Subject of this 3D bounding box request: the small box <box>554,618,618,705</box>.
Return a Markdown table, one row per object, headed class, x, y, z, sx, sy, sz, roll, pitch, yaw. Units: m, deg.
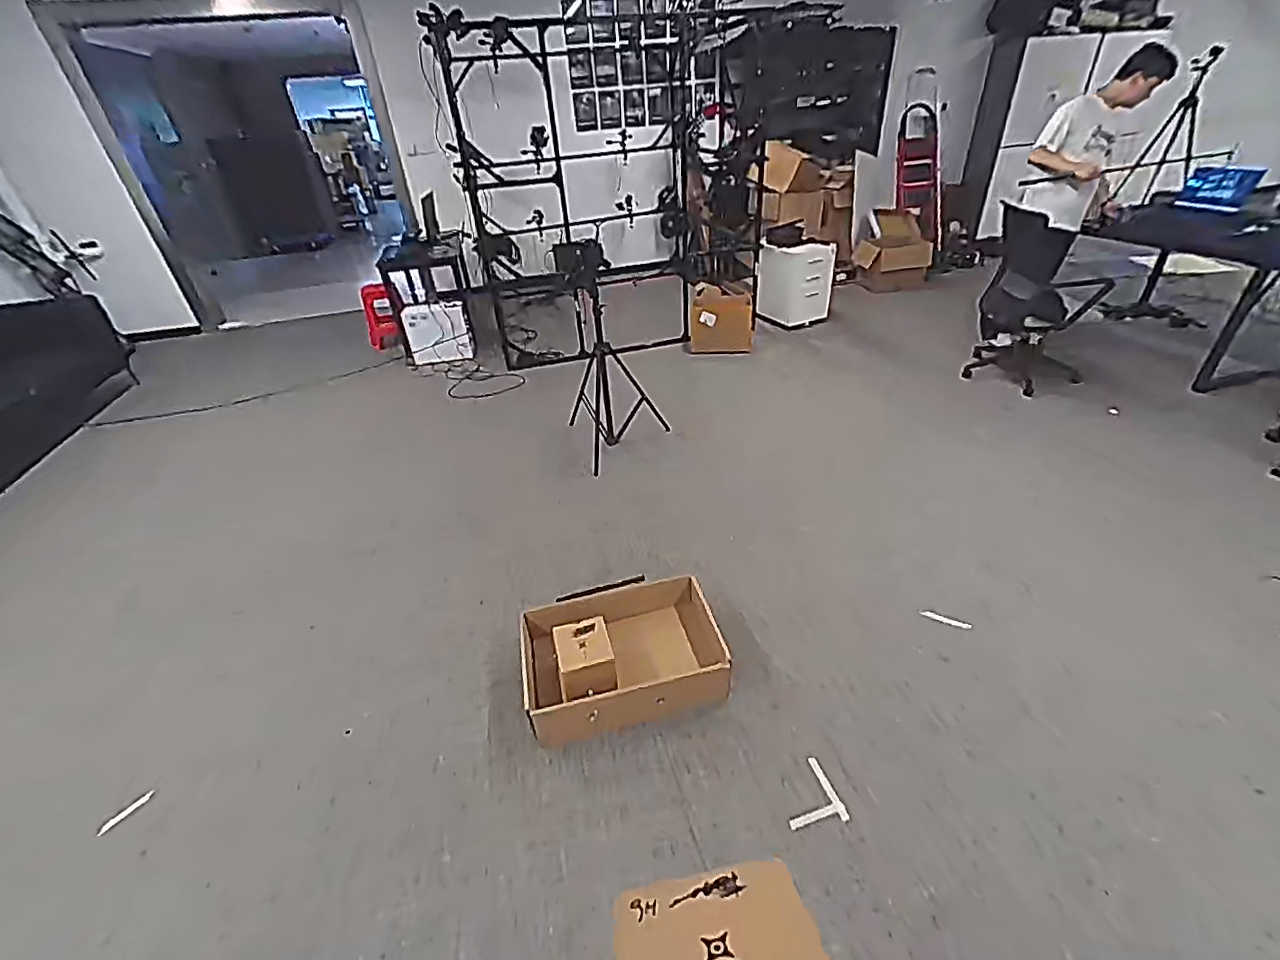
| class | x | y | z | sx | sy | sz | roll | pitch | yaw |
| --- | --- | --- | --- | --- | --- | --- | --- | --- | --- |
| small box | -0.170 | 0.571 | 1.704 | 0.168 | 0.176 | 0.179 | -12 | 35 | -11 |
